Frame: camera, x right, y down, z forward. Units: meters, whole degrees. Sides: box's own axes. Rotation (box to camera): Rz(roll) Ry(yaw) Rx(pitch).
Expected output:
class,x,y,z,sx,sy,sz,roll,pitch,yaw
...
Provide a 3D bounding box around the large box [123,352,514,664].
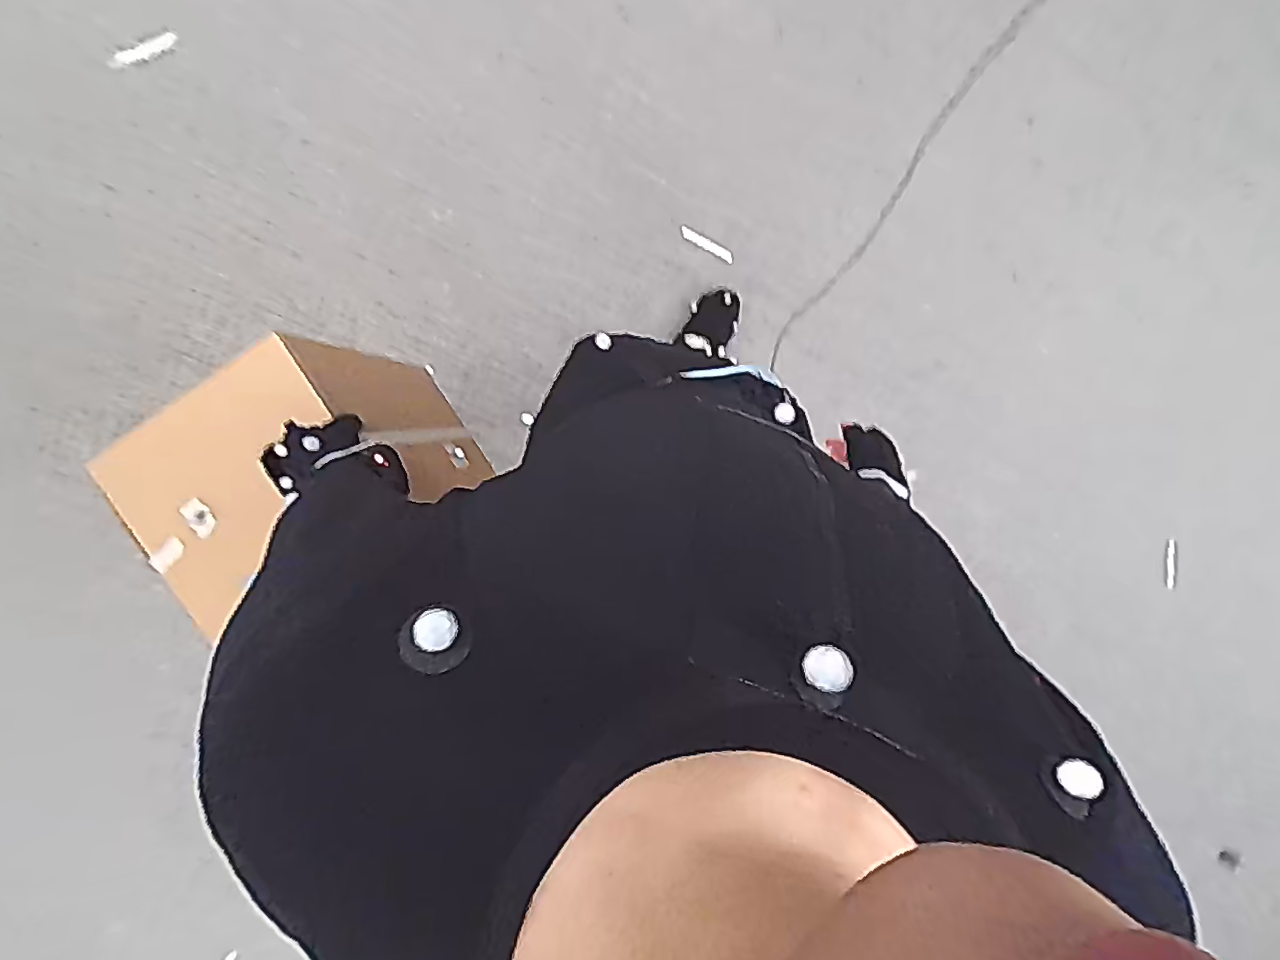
class,x,y,z,sx,sy,sz,roll,pitch,yaw
large box,-0.467,0.025,0.892,0.320,0.408,0.320,-32,93,5
